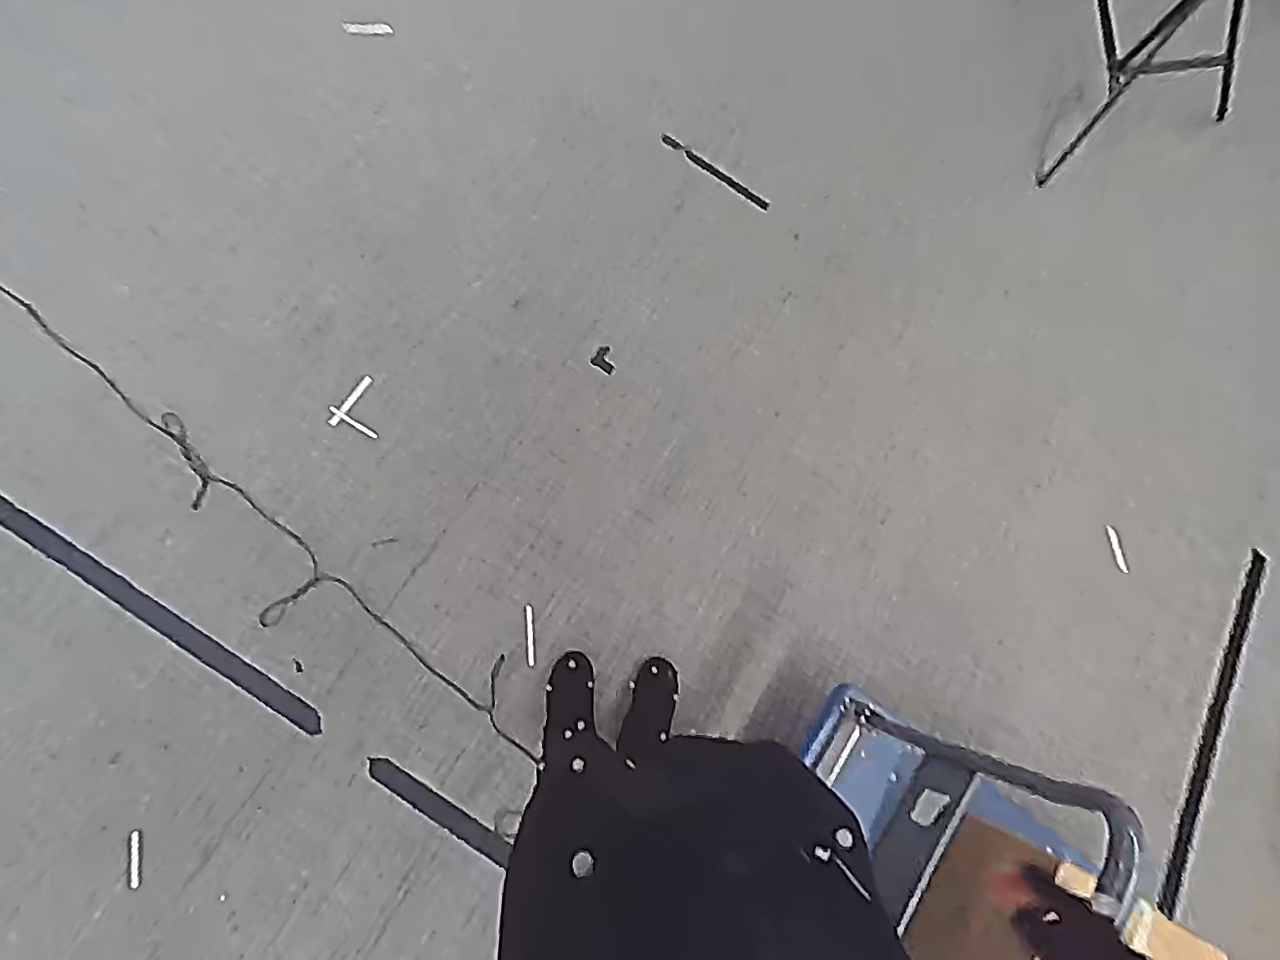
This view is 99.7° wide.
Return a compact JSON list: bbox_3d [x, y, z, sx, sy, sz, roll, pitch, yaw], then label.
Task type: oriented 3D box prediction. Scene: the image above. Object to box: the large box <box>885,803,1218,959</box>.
[{"bbox_3d":[0.699,0.896,0.973,0.320,0.320,0.408,30,76,2],"label":"large box"}]
